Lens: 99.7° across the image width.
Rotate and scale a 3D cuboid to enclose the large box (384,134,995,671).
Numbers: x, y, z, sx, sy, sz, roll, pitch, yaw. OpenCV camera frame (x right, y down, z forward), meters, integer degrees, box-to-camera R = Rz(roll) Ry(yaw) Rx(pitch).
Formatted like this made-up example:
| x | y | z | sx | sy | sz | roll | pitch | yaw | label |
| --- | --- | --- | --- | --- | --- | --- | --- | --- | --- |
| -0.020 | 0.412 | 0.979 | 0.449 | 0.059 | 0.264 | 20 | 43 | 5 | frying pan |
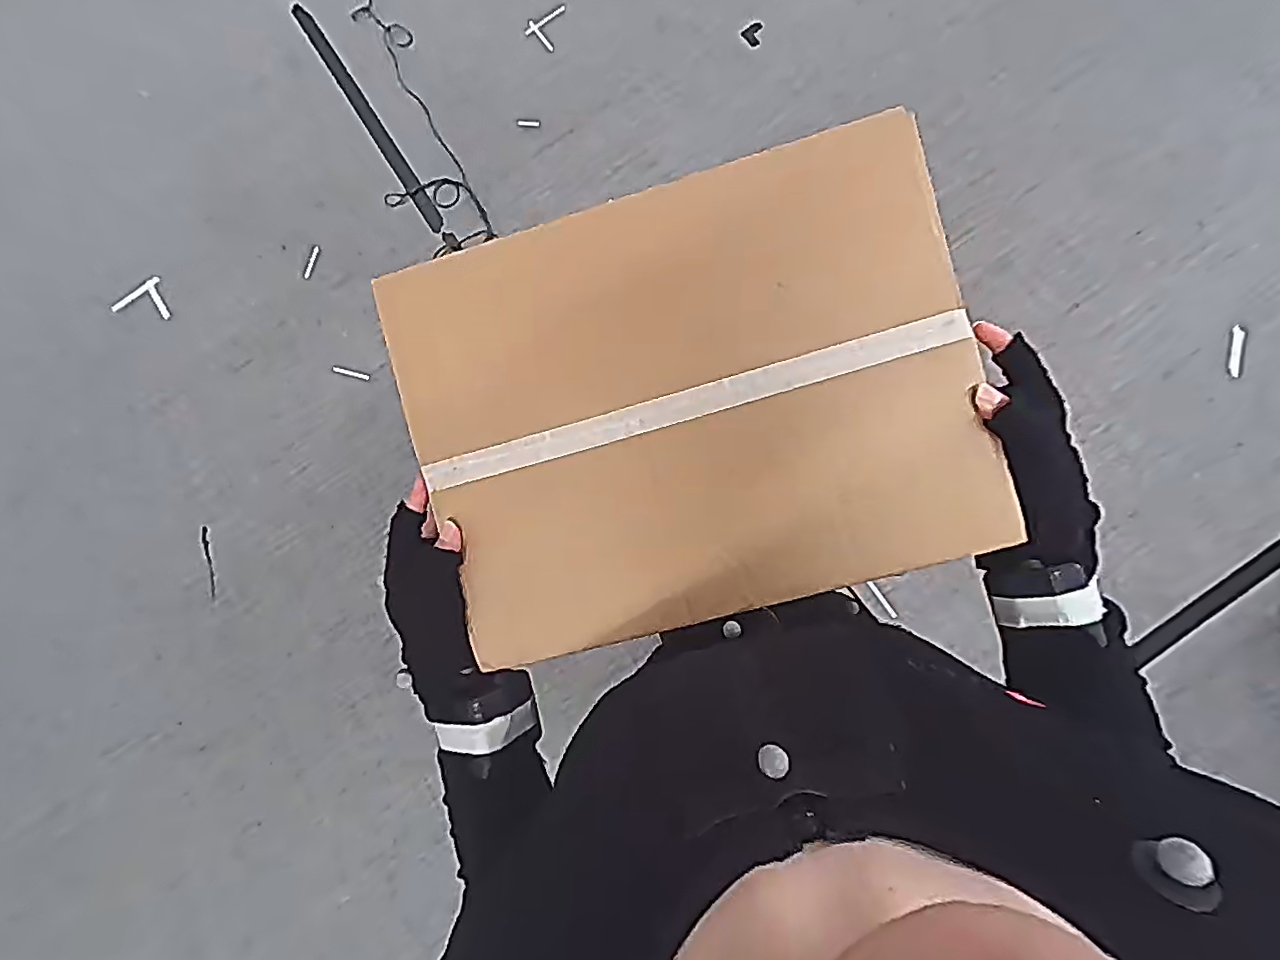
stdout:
| x | y | z | sx | sy | sz | roll | pitch | yaw | label |
| --- | --- | --- | --- | --- | --- | --- | --- | --- | --- |
| 0.042 | -0.055 | 0.553 | 0.408 | 0.320 | 0.320 | -15 | 90 | 6 | large box |
